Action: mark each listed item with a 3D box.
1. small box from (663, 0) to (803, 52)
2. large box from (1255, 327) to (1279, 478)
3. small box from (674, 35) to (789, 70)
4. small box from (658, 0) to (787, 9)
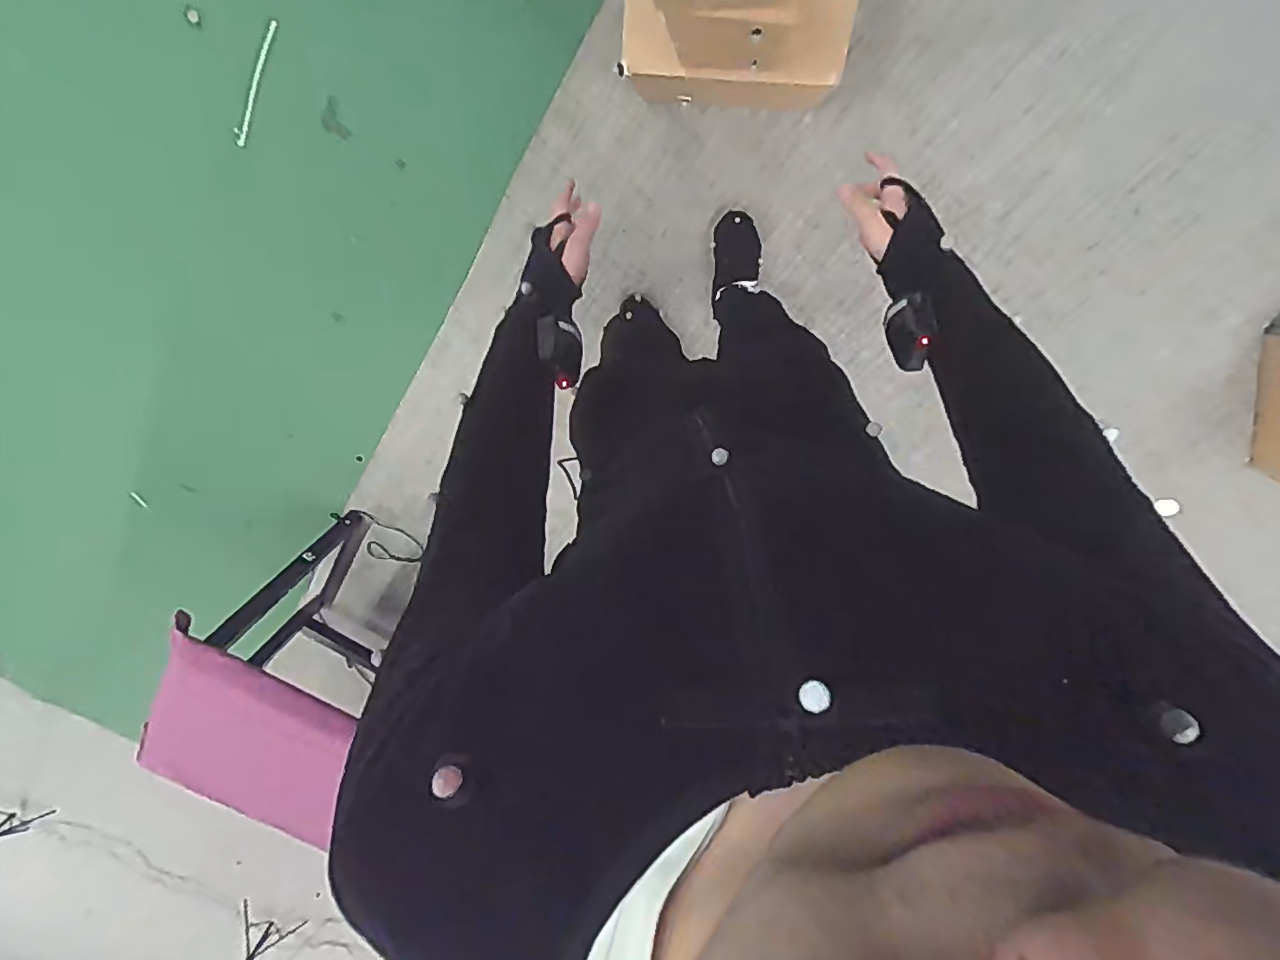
[{"bbox_3d":[0.132,-0.696,0.720,0.179,0.176,0.168,9,118,3],"label":"small box"},{"bbox_3d":[1.733,-0.175,1.240,0.320,0.320,0.408,-18,113,16],"label":"large box"},{"bbox_3d":[0.154,-0.774,0.863,0.179,0.176,0.168,8,119,5],"label":"small box"},{"bbox_3d":[0.097,-0.629,0.574,0.179,0.176,0.168,4,118,5],"label":"small box"}]
